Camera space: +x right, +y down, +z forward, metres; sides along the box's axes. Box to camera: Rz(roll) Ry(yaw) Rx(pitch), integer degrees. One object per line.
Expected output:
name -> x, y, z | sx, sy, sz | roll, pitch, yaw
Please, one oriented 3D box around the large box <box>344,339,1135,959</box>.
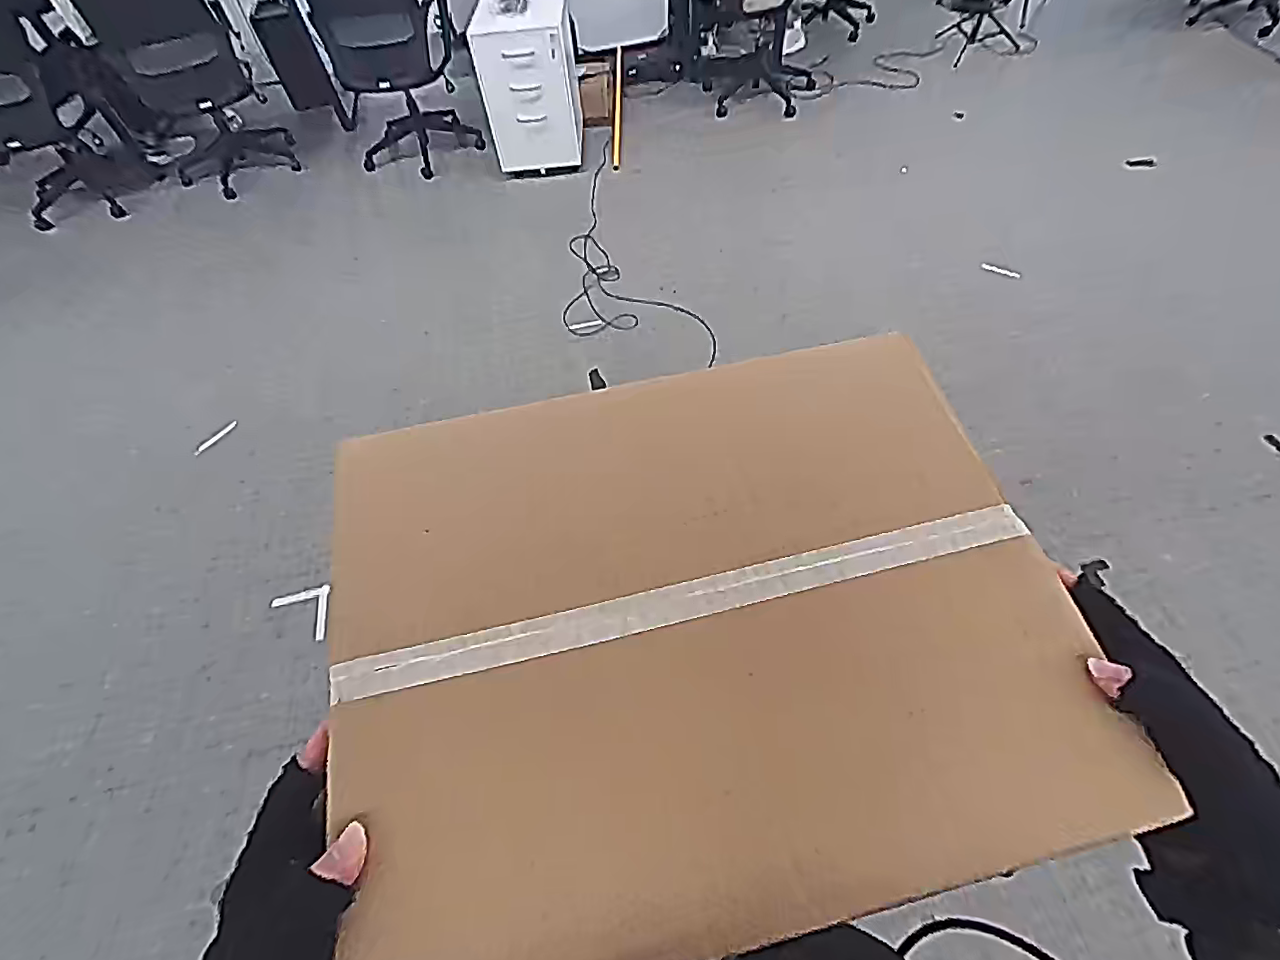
large box -> 0.033, 0.135, 0.454 | 0.408, 0.320, 0.320 | -13, 64, -5
